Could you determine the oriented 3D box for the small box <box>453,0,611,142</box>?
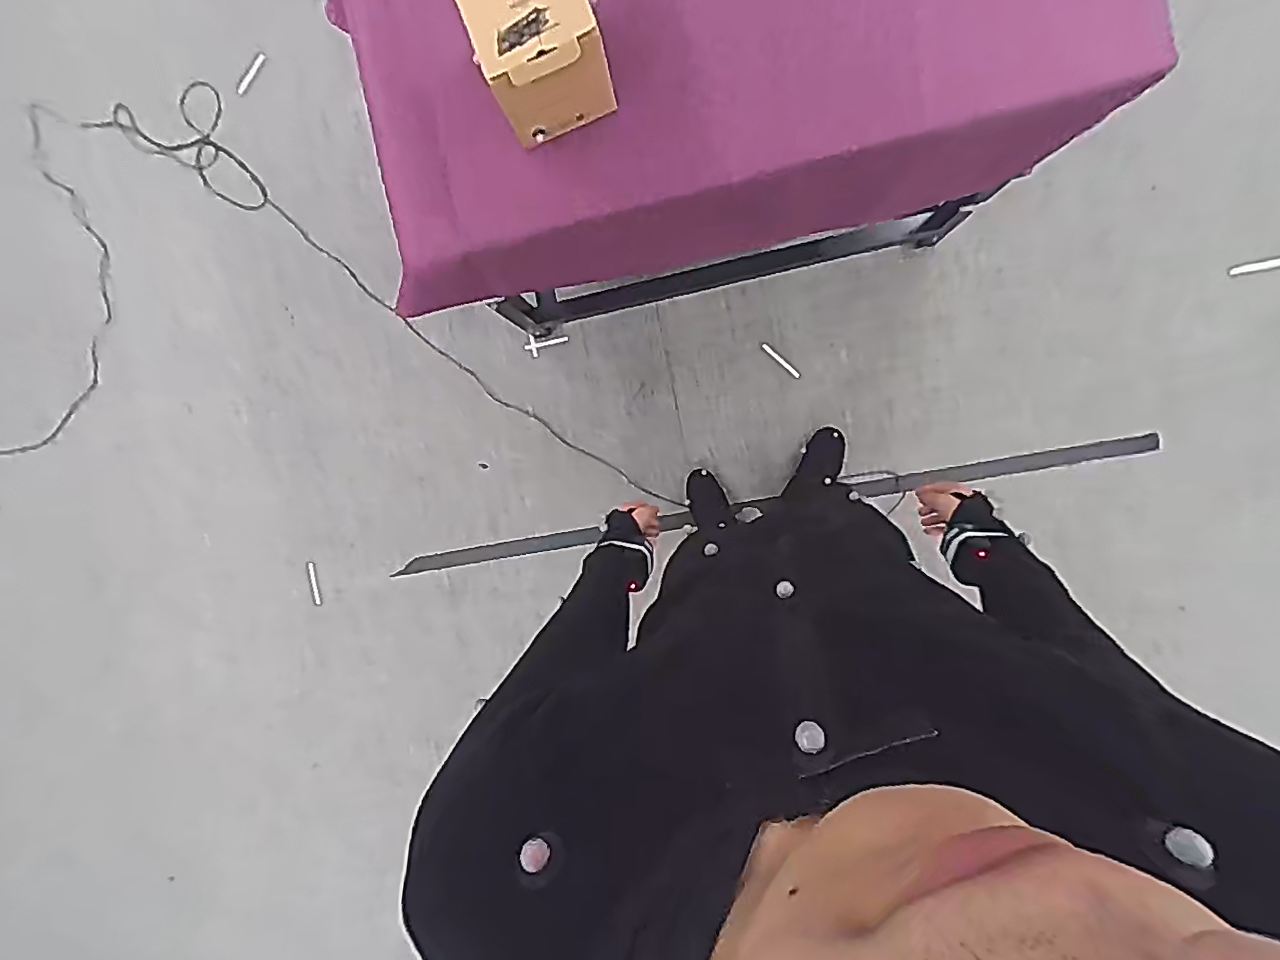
[{"bbox_3d":[-0.152,-0.637,0.791,0.168,0.176,0.179,-21,90,6],"label":"small box"}]
